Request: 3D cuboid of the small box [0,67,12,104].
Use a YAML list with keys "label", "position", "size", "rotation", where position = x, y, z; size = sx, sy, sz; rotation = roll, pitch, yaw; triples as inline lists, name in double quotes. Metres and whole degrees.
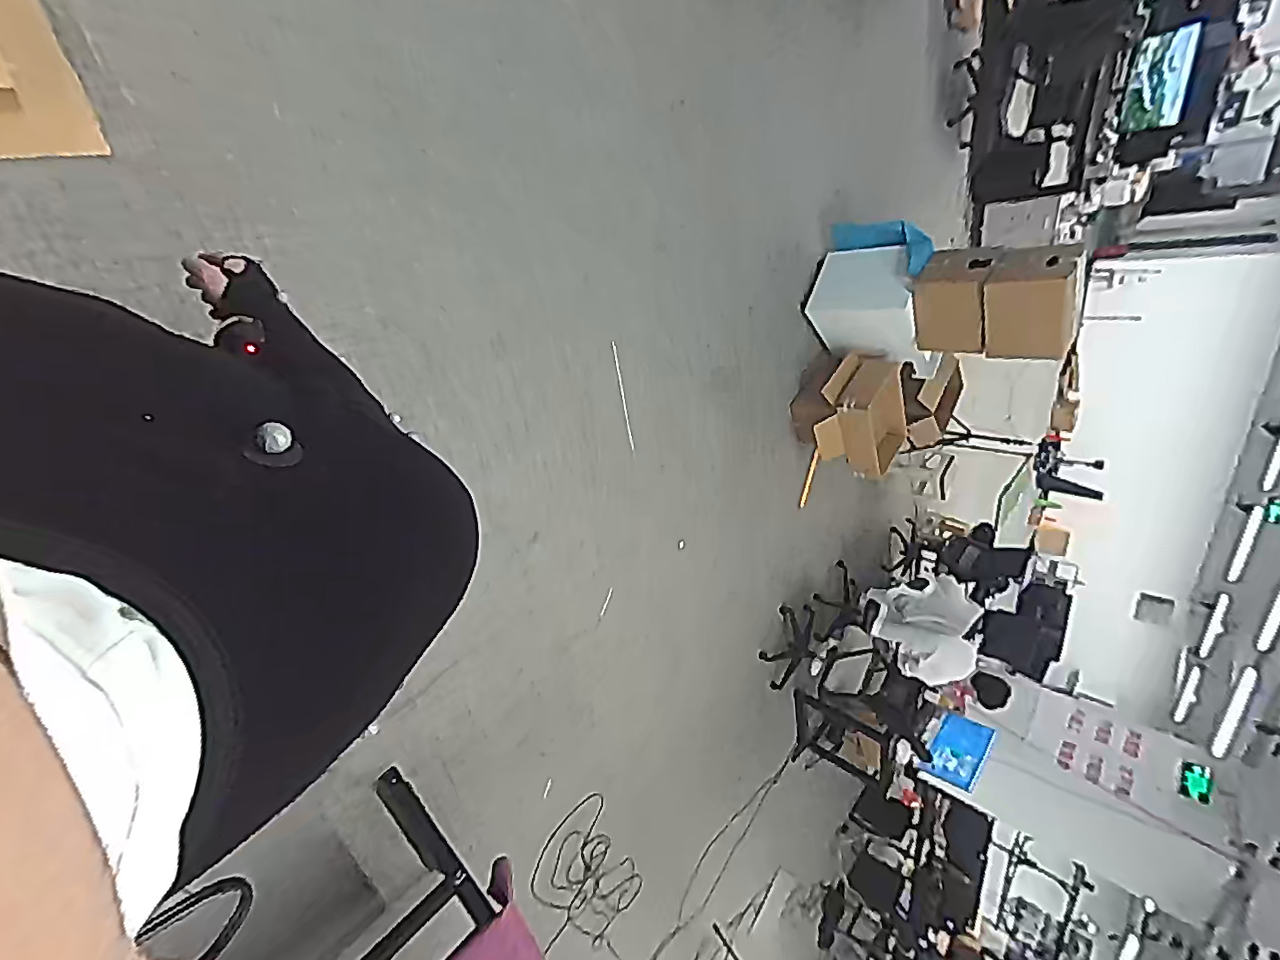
- label: "small box"
  position: [-1.182, -0.723, 0.871]
  size: [0.179, 0.176, 0.168]
  rotation: [-29, 122, -37]
